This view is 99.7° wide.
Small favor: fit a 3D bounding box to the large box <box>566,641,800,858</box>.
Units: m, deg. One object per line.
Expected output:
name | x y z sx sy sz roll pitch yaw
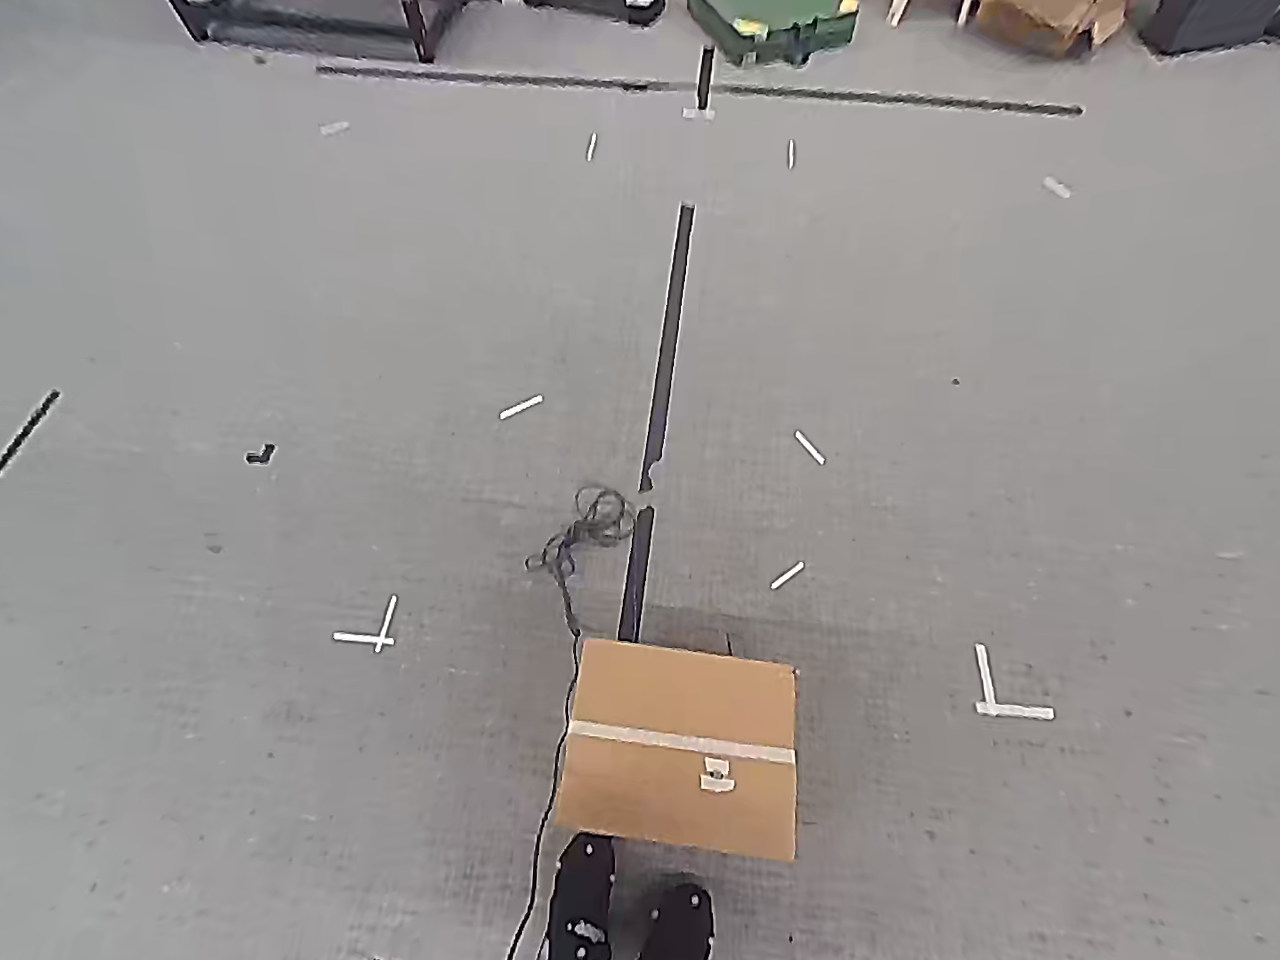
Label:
large box | 0.083 0.537 1.105 0.408 0.320 0.320 8 64 2
